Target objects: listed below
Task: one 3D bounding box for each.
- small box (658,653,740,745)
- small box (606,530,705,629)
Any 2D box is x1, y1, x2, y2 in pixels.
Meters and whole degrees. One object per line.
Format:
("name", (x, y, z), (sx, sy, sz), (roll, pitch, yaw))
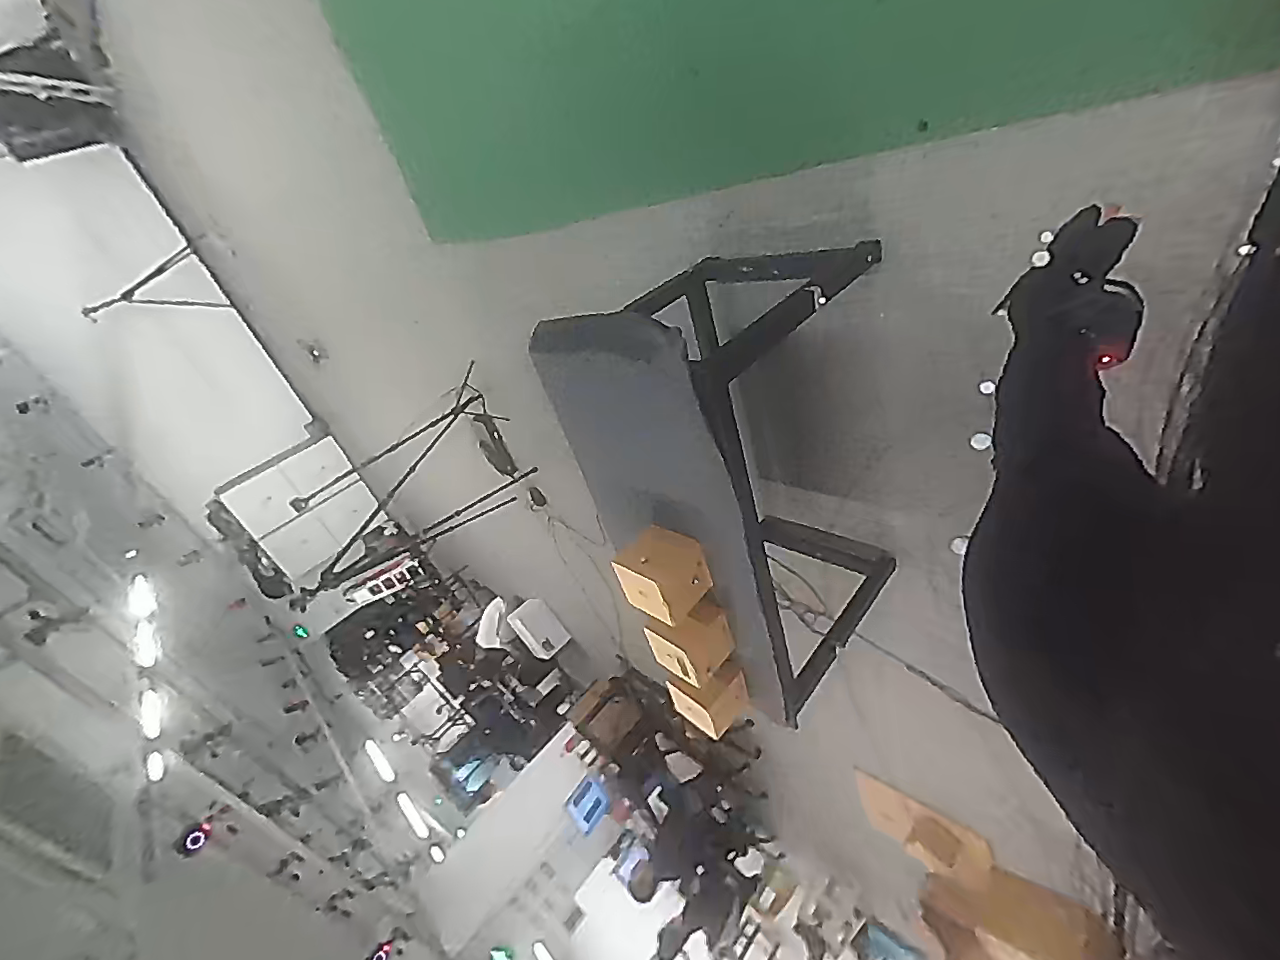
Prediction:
("small box", (0.188, 0.673, 1.688), (0.179, 0.176, 0.168), (21, 138, 43))
("small box", (0.045, 0.254, 1.437), (0.179, 0.176, 0.168), (16, 135, 45))
